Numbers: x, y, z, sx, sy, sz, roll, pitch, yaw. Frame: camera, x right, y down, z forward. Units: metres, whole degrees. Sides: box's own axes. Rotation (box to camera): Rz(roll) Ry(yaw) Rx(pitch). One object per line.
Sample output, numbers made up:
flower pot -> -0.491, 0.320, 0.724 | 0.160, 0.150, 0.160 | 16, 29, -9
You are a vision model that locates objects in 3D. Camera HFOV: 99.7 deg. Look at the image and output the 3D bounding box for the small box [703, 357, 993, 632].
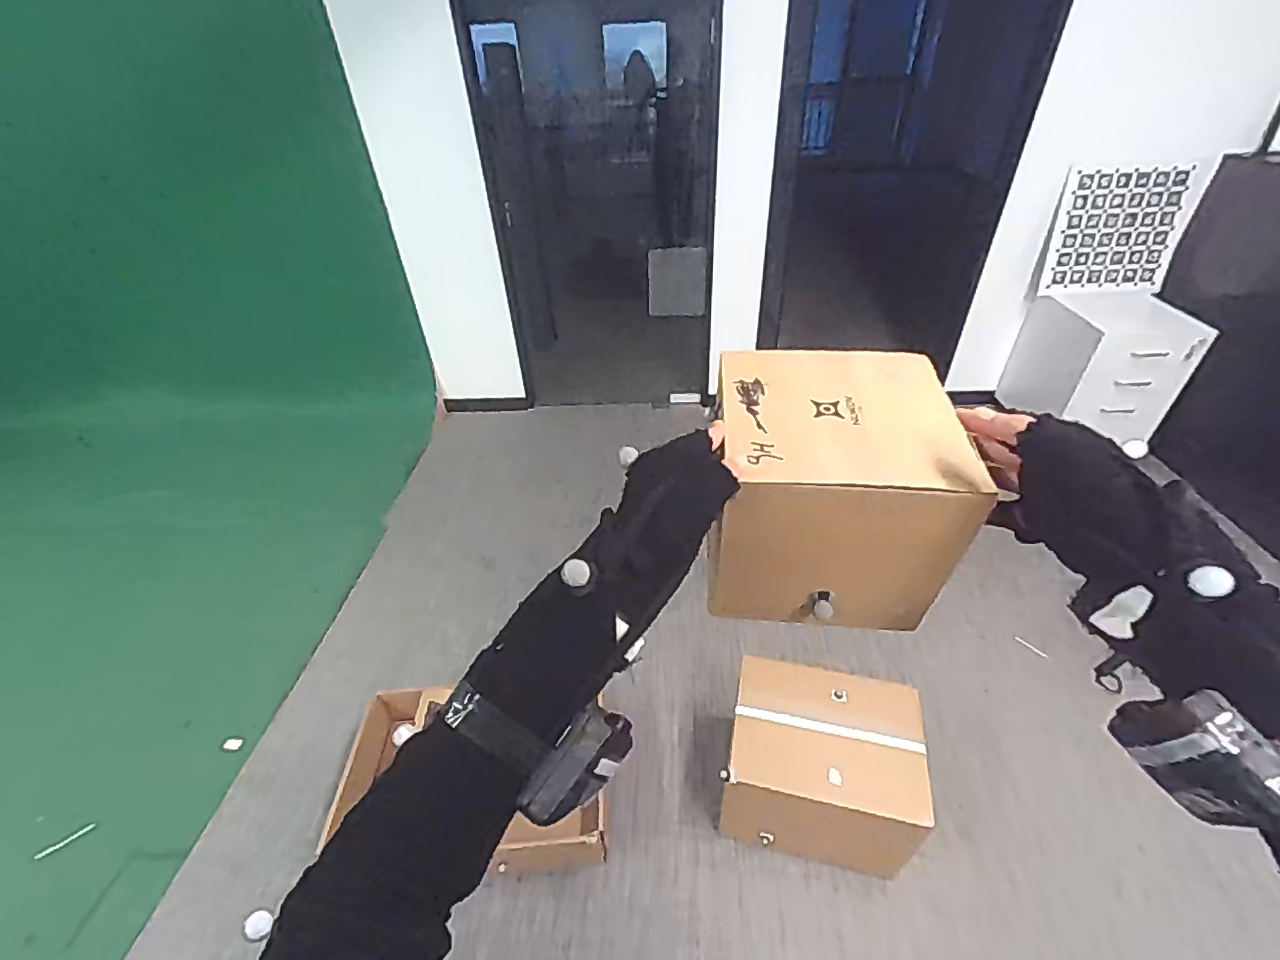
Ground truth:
small box -> 0.151, 0.014, 0.466 | 0.179, 0.176, 0.168 | 3, 43, 4
